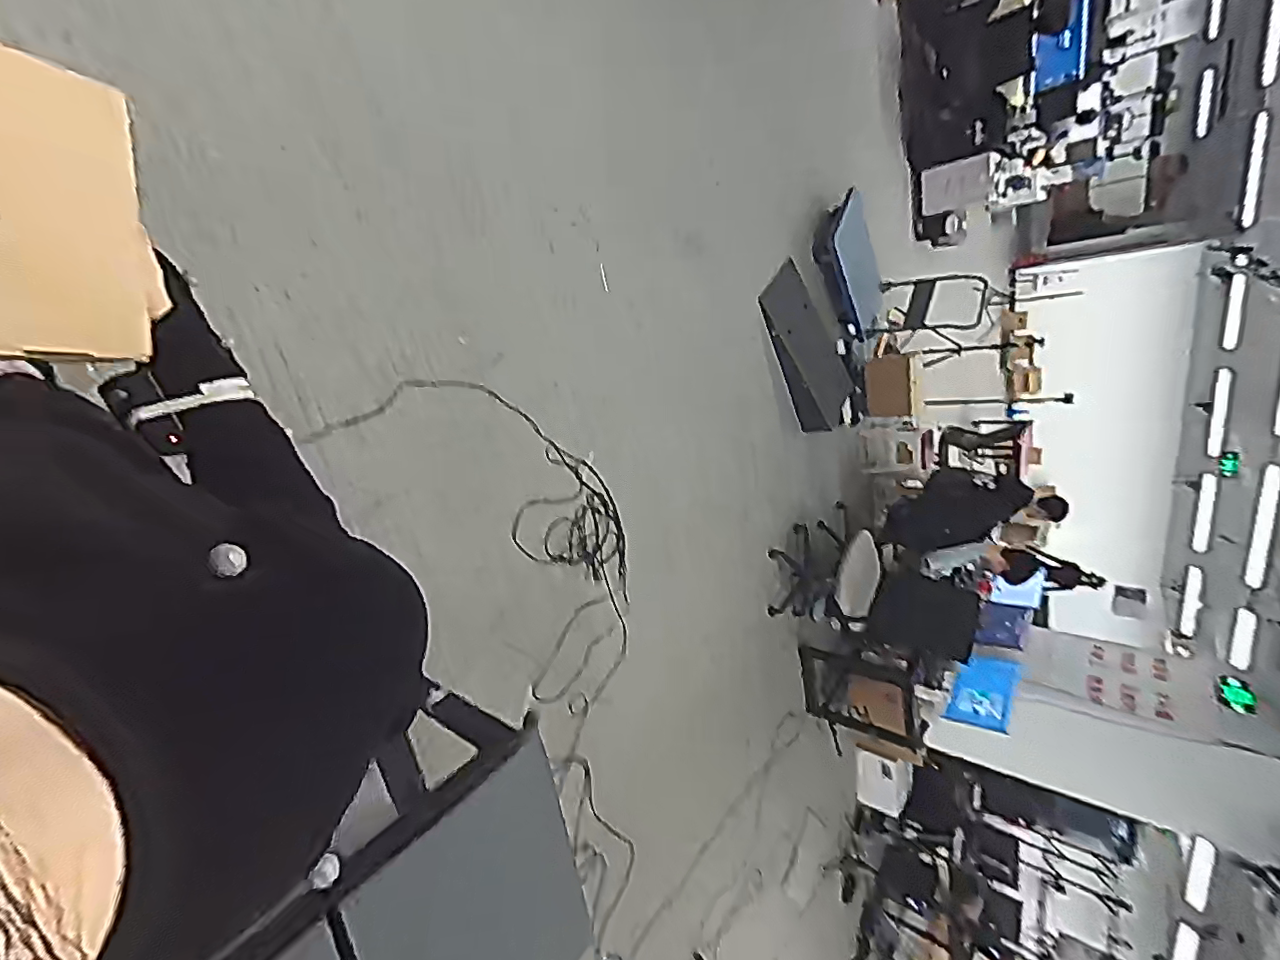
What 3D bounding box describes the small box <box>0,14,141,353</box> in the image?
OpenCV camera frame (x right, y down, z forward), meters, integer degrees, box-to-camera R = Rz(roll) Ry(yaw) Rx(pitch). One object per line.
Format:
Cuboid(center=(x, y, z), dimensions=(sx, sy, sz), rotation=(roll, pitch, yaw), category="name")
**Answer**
Cuboid(center=(-0.441, -0.175, 0.321), dimensions=(0.168, 0.176, 0.179), rotation=(-10, 104, -59), category="small box")
